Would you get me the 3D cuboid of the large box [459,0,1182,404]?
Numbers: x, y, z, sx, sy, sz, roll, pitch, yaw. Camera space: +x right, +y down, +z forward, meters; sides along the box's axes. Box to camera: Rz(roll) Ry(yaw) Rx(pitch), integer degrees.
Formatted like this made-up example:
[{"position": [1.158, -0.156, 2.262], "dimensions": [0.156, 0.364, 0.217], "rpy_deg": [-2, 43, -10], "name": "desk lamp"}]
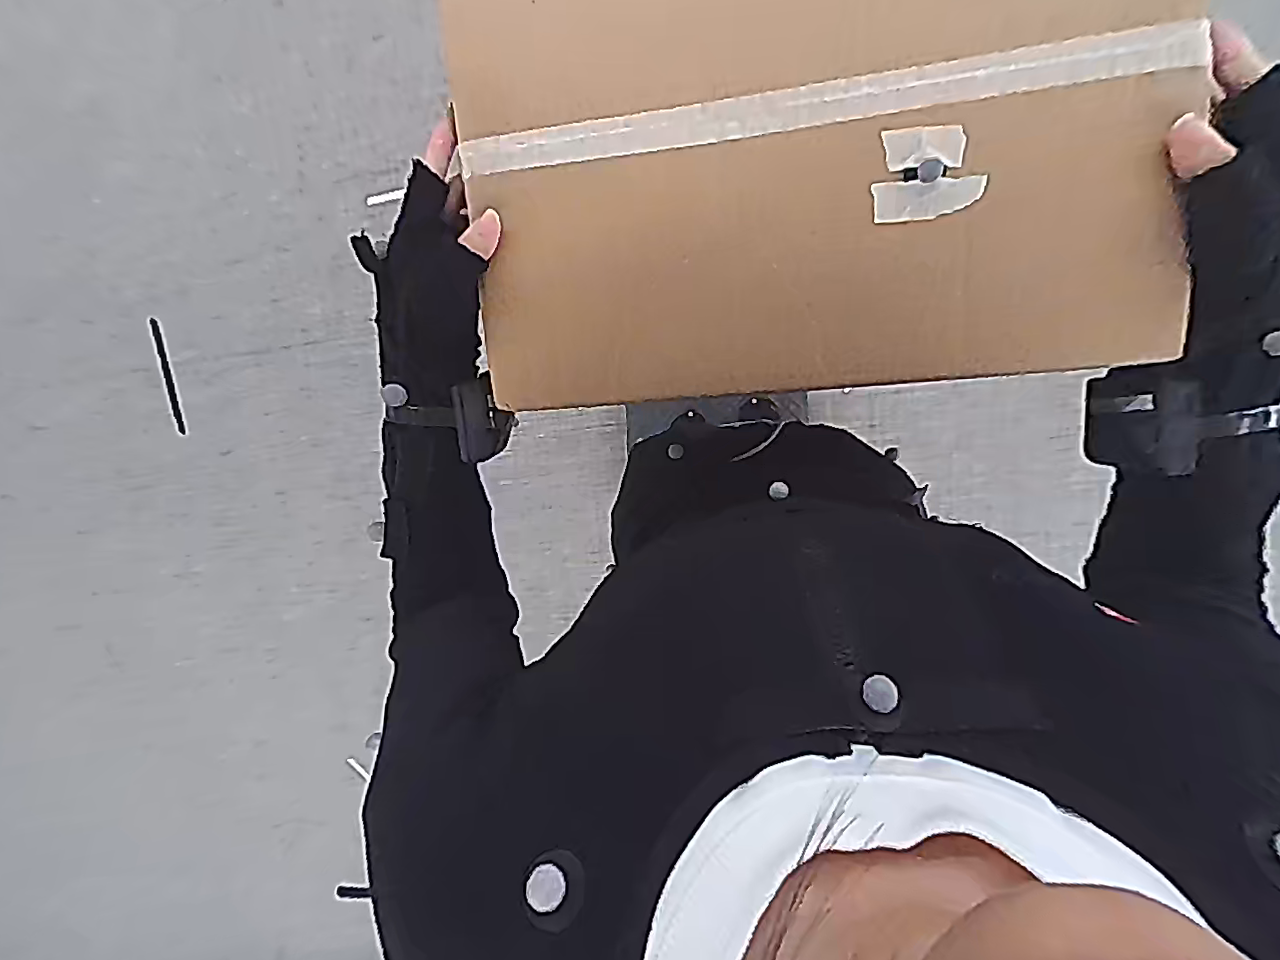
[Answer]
[{"position": [0.110, -0.243, 0.465], "dimensions": [0.408, 0.320, 0.320], "rpy_deg": [-4, 101, 8], "name": "large box"}]
